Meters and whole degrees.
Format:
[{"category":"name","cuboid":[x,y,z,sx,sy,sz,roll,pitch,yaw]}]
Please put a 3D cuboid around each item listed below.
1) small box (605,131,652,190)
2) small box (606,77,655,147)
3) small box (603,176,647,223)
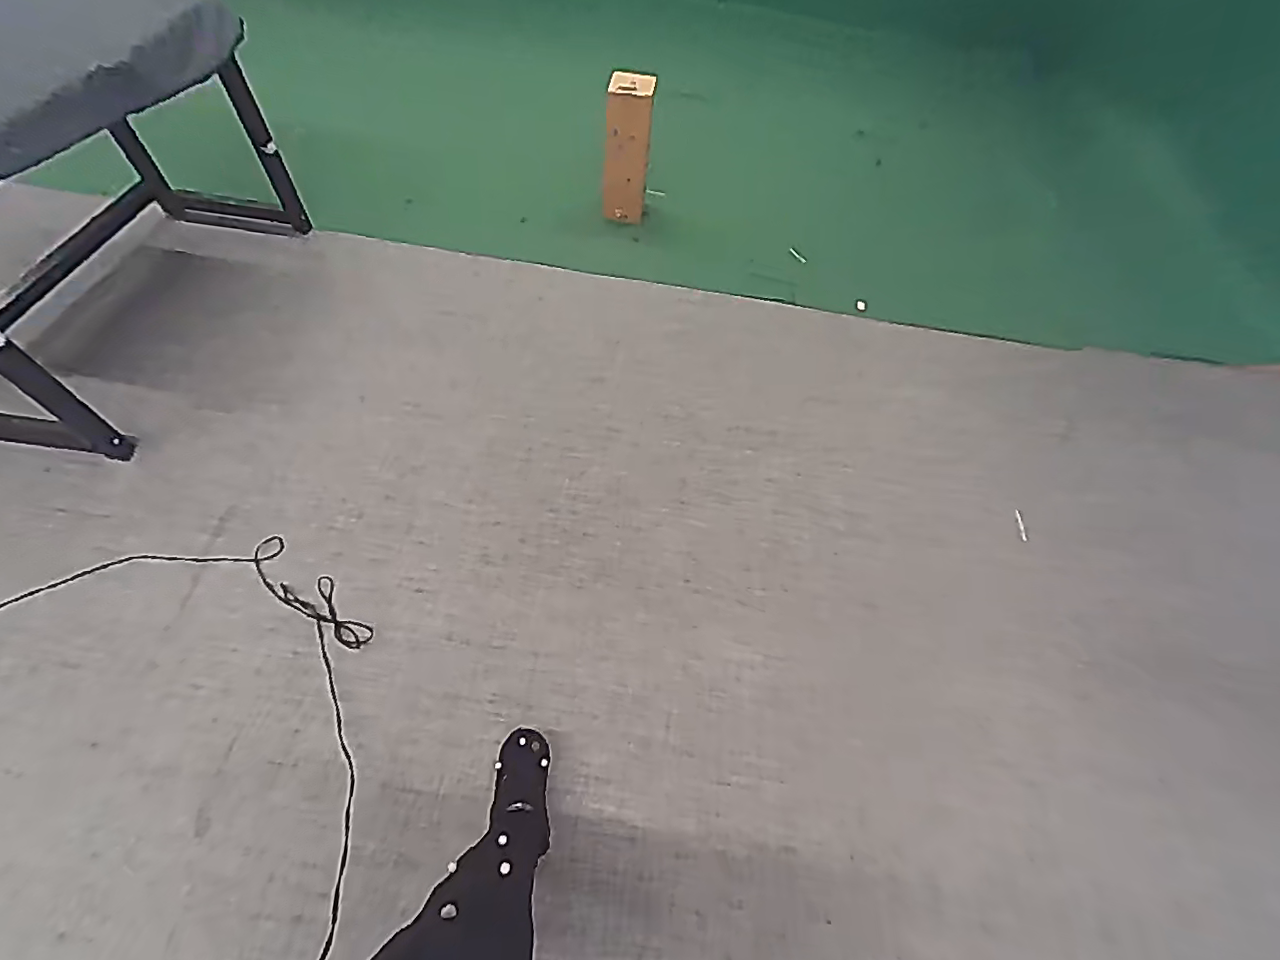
[{"category":"small box","cuboid":[-0.050,-1.330,2.228,0.168,0.176,0.179,9,56,1]},{"category":"small box","cuboid":[-0.036,-1.421,2.092,0.168,0.176,0.179,8,56,0]},{"category":"small box","cuboid":[-0.066,-1.250,2.348,0.168,0.176,0.179,10,57,3]}]
